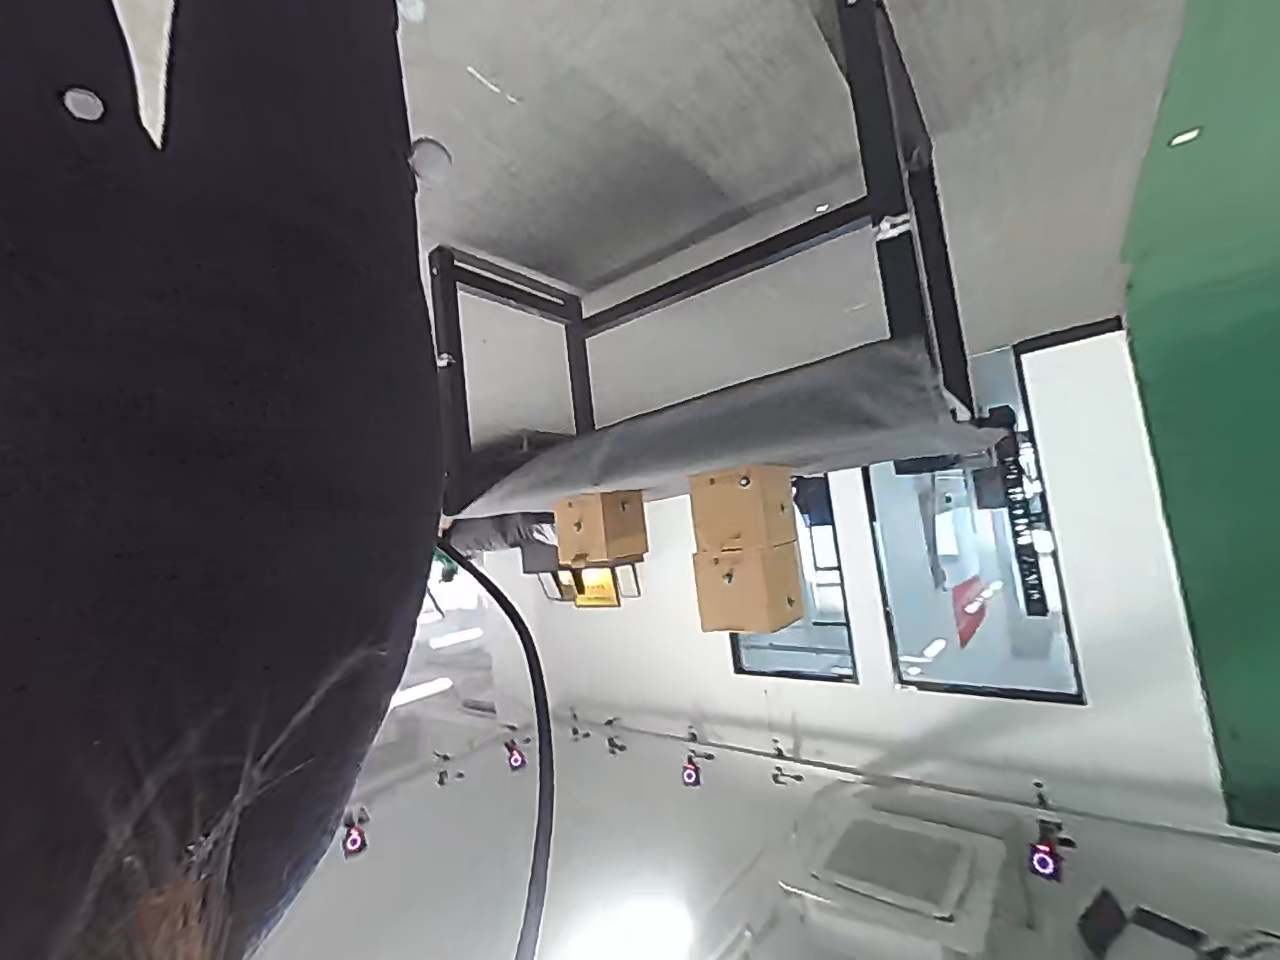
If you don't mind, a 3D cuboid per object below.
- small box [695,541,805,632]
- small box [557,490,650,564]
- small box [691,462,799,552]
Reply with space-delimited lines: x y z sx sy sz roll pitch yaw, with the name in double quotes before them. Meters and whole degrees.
"small box" 0.237 0.221 1.162 0.168 0.176 0.179 -12 173 37
"small box" -0.096 0.120 1.403 0.168 0.176 0.179 -11 173 36
"small box" 0.224 0.056 1.161 0.168 0.176 0.179 -10 175 34
